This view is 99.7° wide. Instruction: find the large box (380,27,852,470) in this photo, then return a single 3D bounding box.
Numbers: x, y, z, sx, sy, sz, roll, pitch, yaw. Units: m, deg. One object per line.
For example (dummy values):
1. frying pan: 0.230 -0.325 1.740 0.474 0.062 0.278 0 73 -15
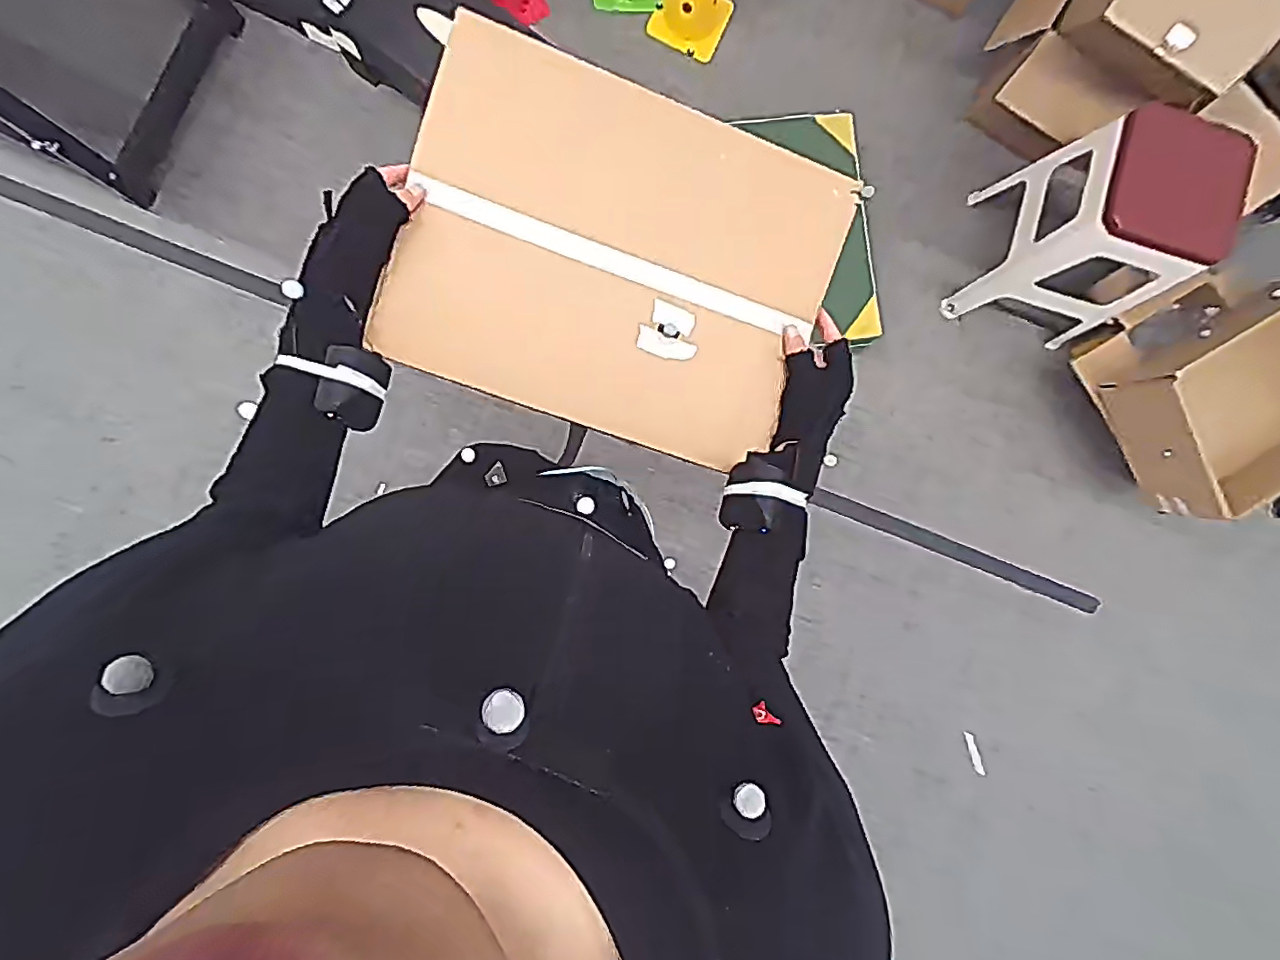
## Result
1. large box: -0.036 -0.228 0.675 0.408 0.320 0.320 18 95 -9
